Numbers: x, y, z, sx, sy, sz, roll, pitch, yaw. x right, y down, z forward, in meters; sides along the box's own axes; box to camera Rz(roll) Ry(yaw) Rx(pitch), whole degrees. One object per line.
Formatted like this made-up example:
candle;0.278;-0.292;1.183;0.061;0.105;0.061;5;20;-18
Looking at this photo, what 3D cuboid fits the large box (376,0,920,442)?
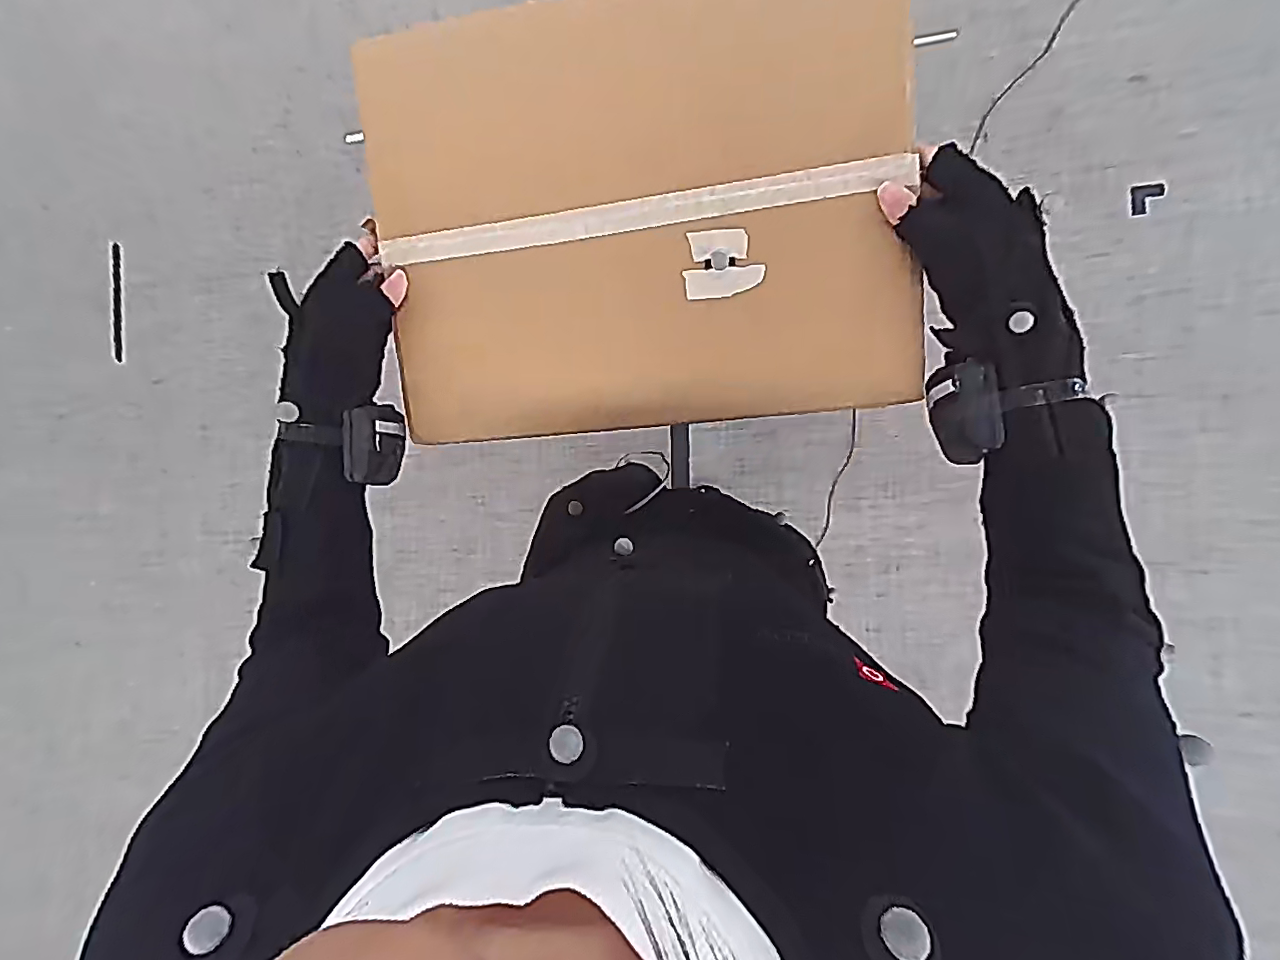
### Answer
large box;0.019;-0.222;0.563;0.408;0.320;0.320;-5;98;9
